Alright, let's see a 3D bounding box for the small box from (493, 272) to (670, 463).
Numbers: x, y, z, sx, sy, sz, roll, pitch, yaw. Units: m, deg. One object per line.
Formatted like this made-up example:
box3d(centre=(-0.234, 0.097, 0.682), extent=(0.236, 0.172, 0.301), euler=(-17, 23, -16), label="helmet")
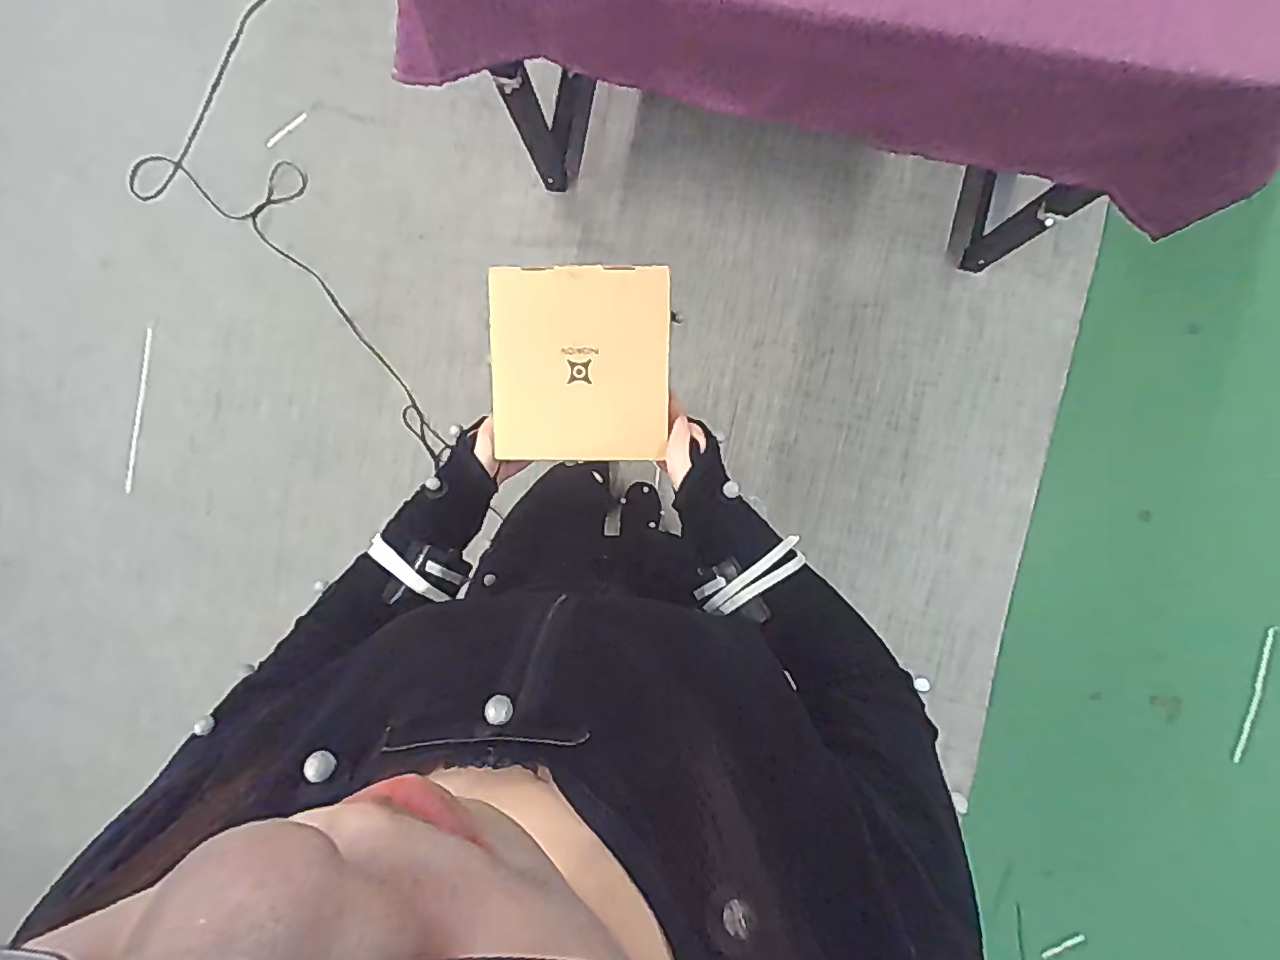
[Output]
box3d(centre=(-0.053, -0.118, 0.589), extent=(0.168, 0.176, 0.179), euler=(1, 99, 2), label="small box")
